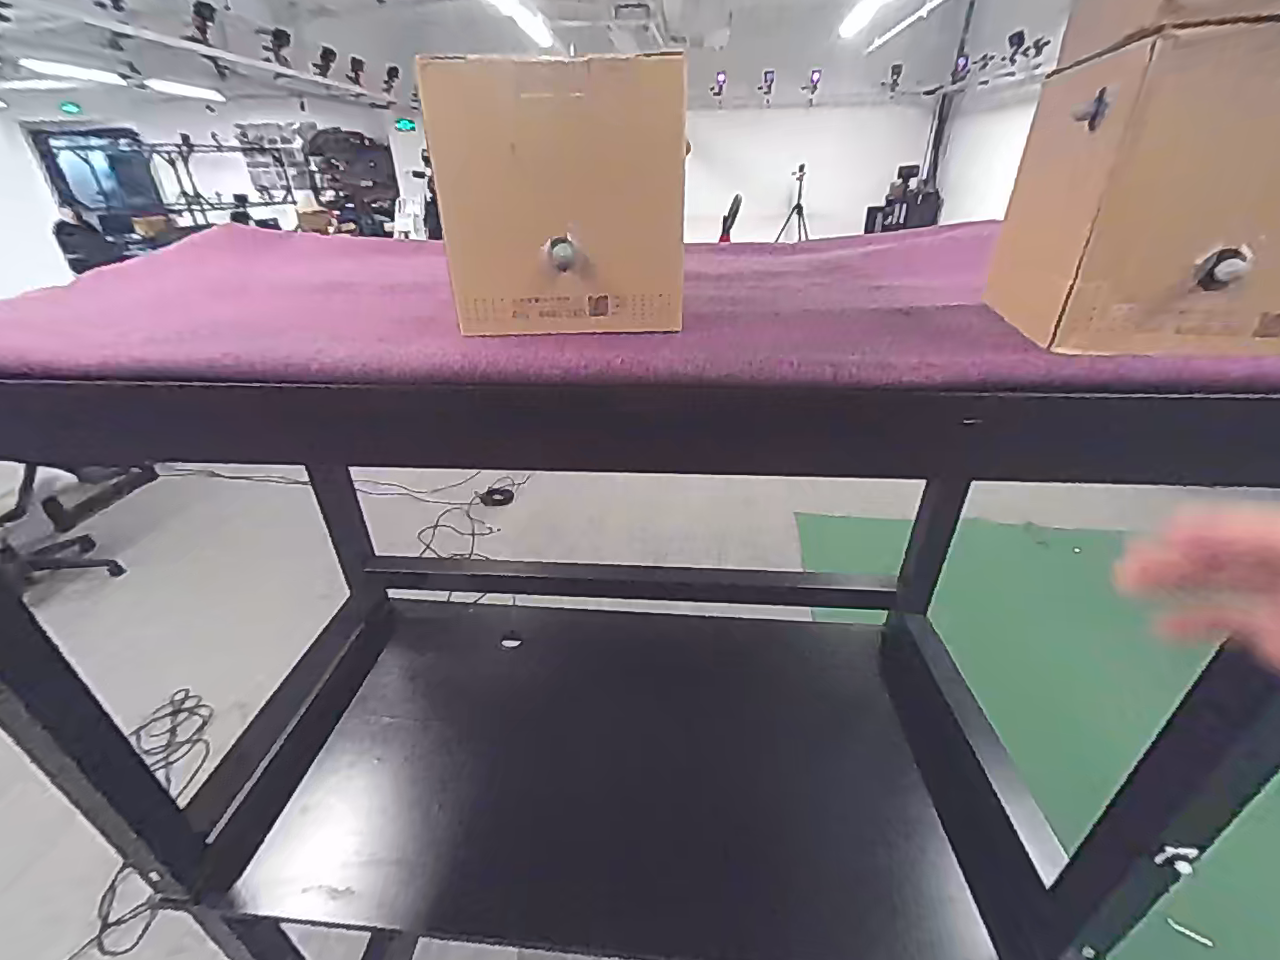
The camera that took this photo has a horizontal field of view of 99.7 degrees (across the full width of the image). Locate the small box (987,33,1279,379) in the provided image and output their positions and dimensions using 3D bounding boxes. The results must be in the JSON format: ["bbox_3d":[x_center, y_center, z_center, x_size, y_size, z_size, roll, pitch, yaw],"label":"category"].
[{"bbox_3d":[0.360,-0.177,0.357,0.168,0.176,0.179,7,32,14],"label":"small box"}]

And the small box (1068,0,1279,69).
[{"bbox_3d":[0.356,-0.314,0.270,0.168,0.176,0.179,8,33,18],"label":"small box"}]
